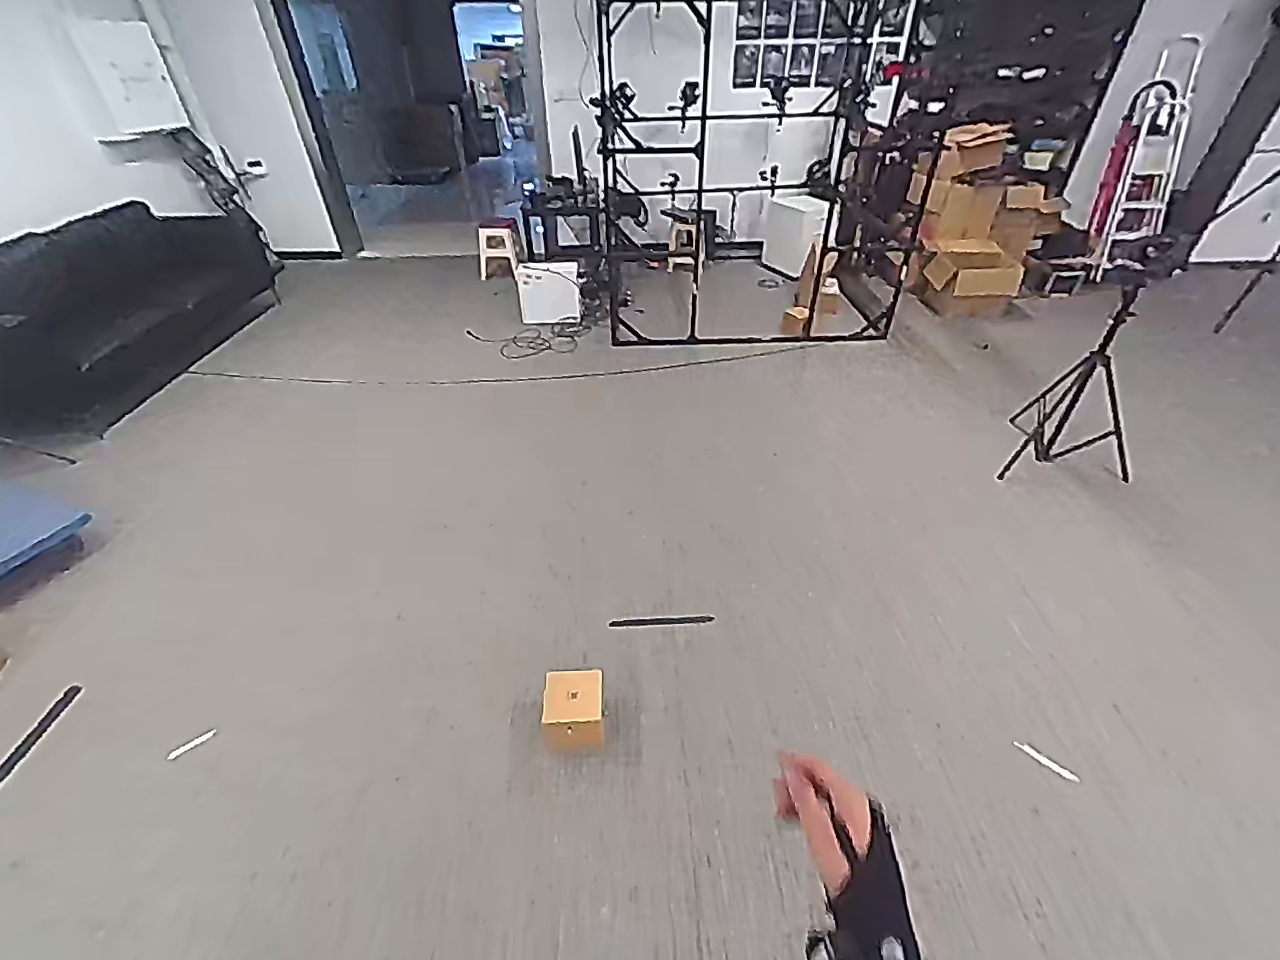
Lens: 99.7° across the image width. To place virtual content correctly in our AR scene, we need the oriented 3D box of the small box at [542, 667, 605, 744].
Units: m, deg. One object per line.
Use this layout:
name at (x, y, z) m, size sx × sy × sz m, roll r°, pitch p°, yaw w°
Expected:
small box at (-0.199, 0.701, 1.679) m, size 0.179 × 0.176 × 0.168 m, roll -3°, pitch 39°, yaw -1°
